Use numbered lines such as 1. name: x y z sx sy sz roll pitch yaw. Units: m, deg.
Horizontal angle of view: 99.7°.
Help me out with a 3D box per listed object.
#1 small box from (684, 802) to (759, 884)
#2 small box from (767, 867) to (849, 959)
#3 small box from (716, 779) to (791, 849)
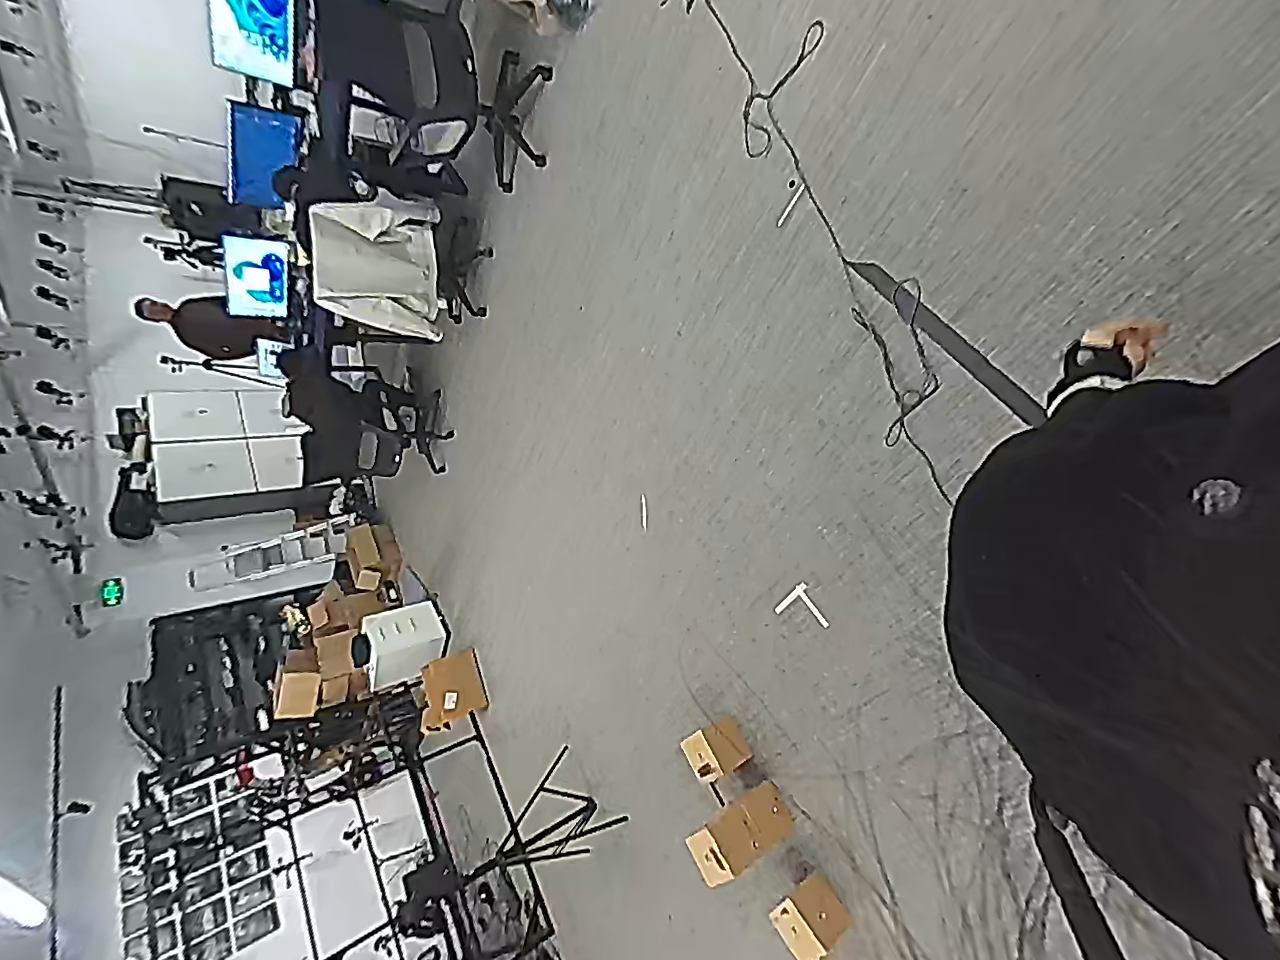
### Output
1. small box: 0.294 1.274 1.904 0.168 0.176 0.179 56 136 27
2. small box: 0.582 1.496 1.863 0.179 0.176 0.168 46 129 34
3. small box: 0.422 1.244 2.003 0.168 0.176 0.179 59 135 24
